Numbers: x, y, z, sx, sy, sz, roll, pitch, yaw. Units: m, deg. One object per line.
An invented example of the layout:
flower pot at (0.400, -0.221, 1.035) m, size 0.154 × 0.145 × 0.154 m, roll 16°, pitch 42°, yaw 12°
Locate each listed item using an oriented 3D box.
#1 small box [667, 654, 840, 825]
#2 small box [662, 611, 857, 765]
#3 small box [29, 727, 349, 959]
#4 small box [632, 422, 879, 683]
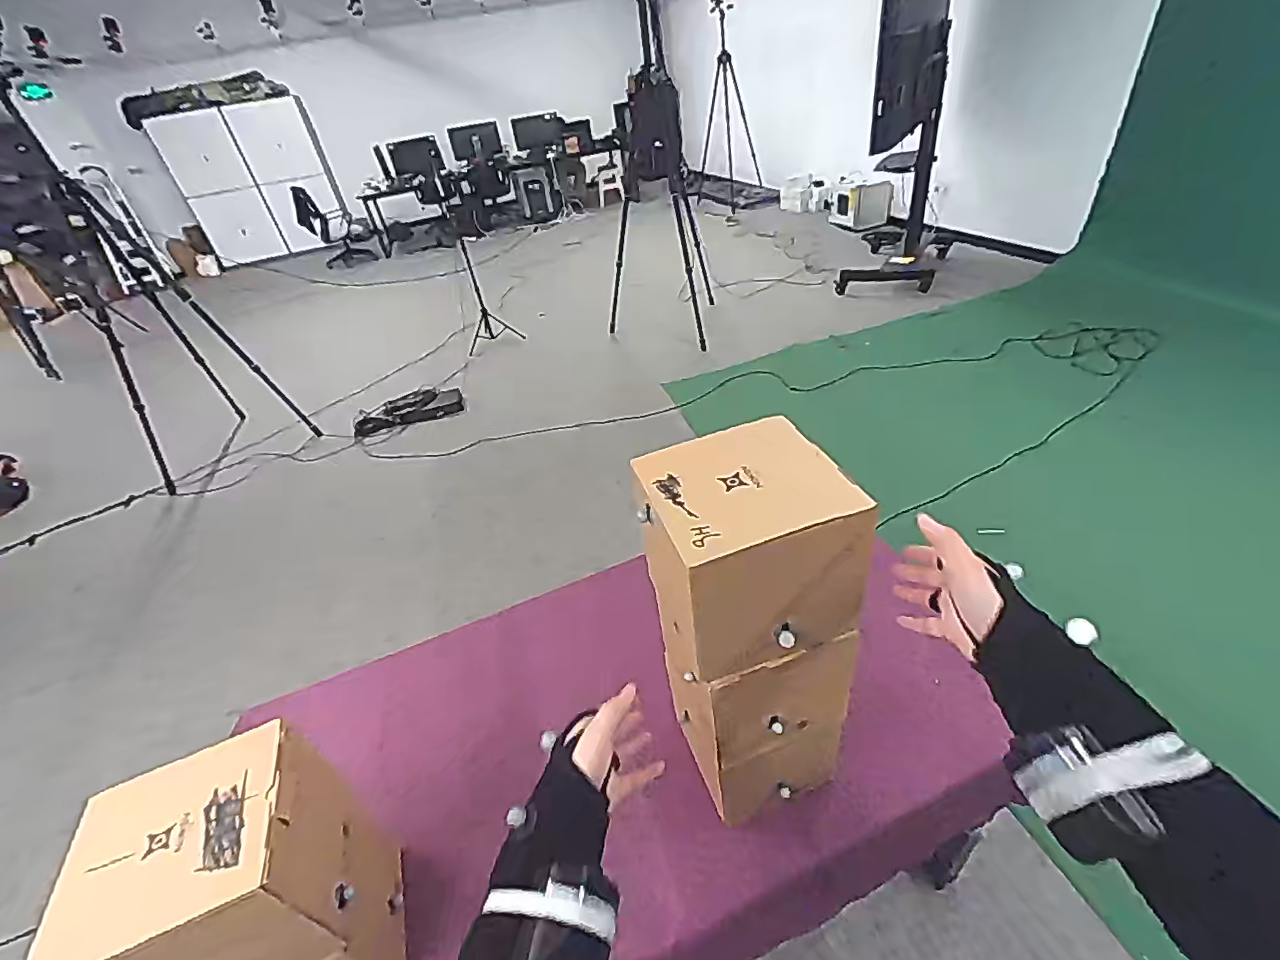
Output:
small box at (0.148, 0.326, 0.743) m, size 0.168 × 0.176 × 0.179 m, roll -19°, pitch 38°, yaw -10°
small box at (0.128, 0.197, 0.646) m, size 0.168 × 0.176 × 0.179 m, roll -18°, pitch 38°, yaw -11°
small box at (-0.403, 0.385, 0.522) m, size 0.179 × 0.176 × 0.168 m, roll -21°, pitch 38°, yaw -14°
small box at (0.104, 0.069, 0.545) m, size 0.179 × 0.176 × 0.168 m, roll -16°, pitch 37°, yaw -9°
